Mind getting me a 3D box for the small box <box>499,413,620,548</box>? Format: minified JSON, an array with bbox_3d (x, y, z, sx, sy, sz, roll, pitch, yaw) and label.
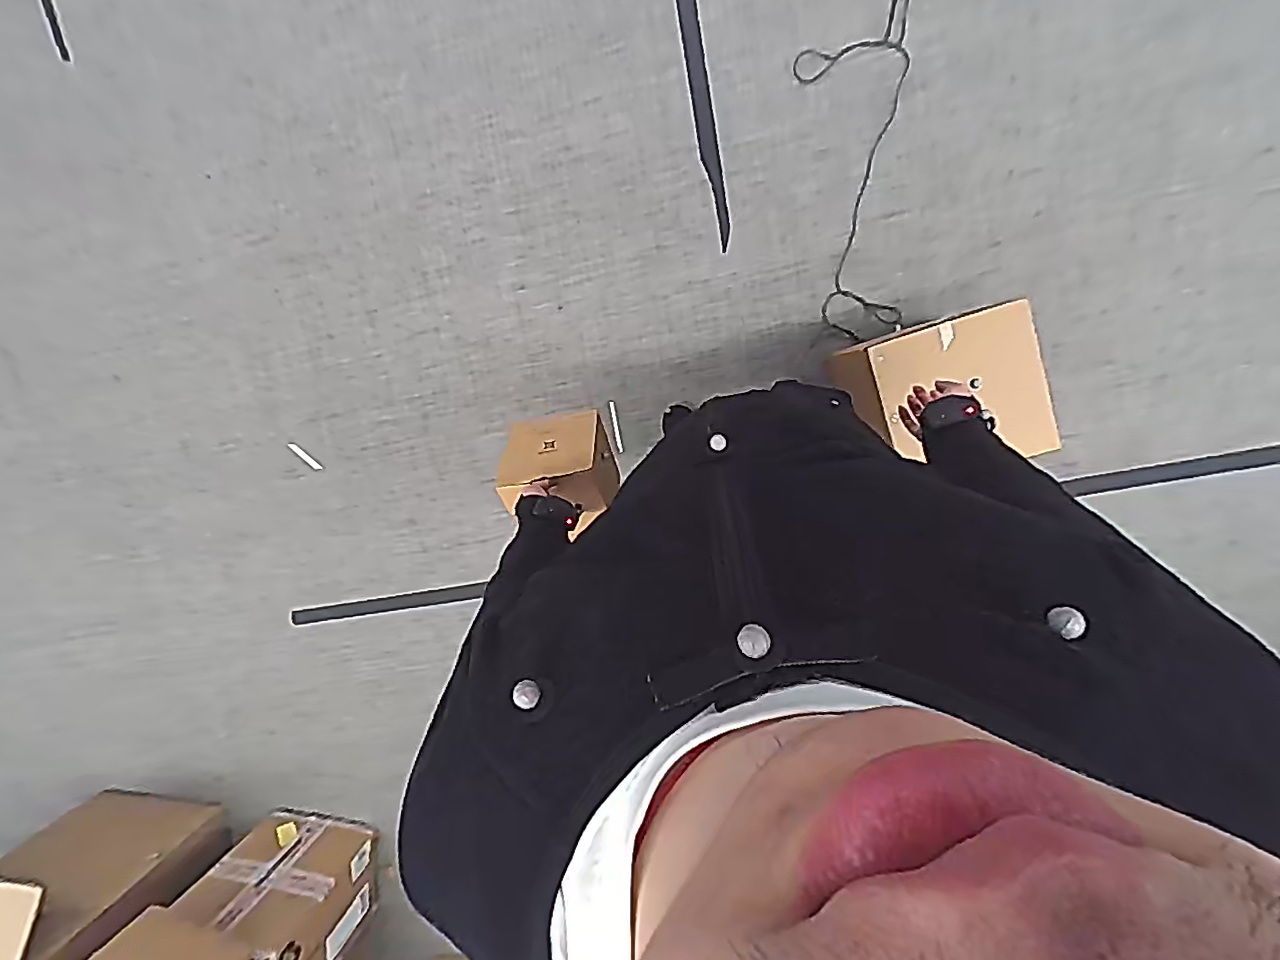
[{"bbox_3d":[-0.135,0.008,0.987,0.168,0.179,0.176,-10,130,8],"label":"small box"}]
